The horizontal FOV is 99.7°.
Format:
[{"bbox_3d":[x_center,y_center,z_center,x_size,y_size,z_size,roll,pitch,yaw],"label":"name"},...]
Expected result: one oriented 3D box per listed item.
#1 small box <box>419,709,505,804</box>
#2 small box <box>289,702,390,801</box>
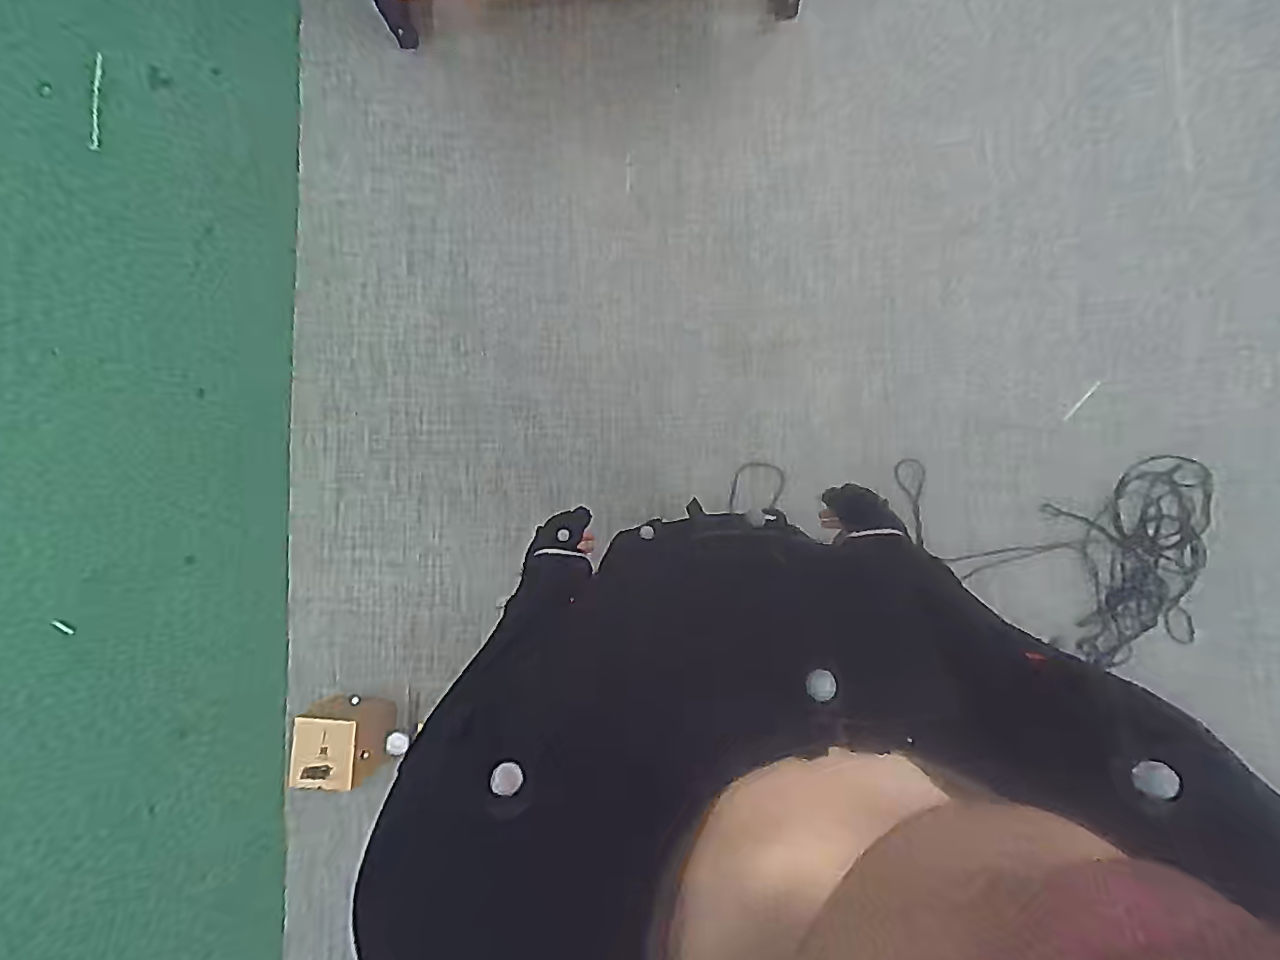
[{"bbox_3d":[-0.454,0.706,1.397,0.168,0.176,0.179,-2,86,4],"label":"small box"},{"bbox_3d":[-0.779,0.704,1.418,0.168,0.176,0.179,2,85,4],"label":"small box"}]
